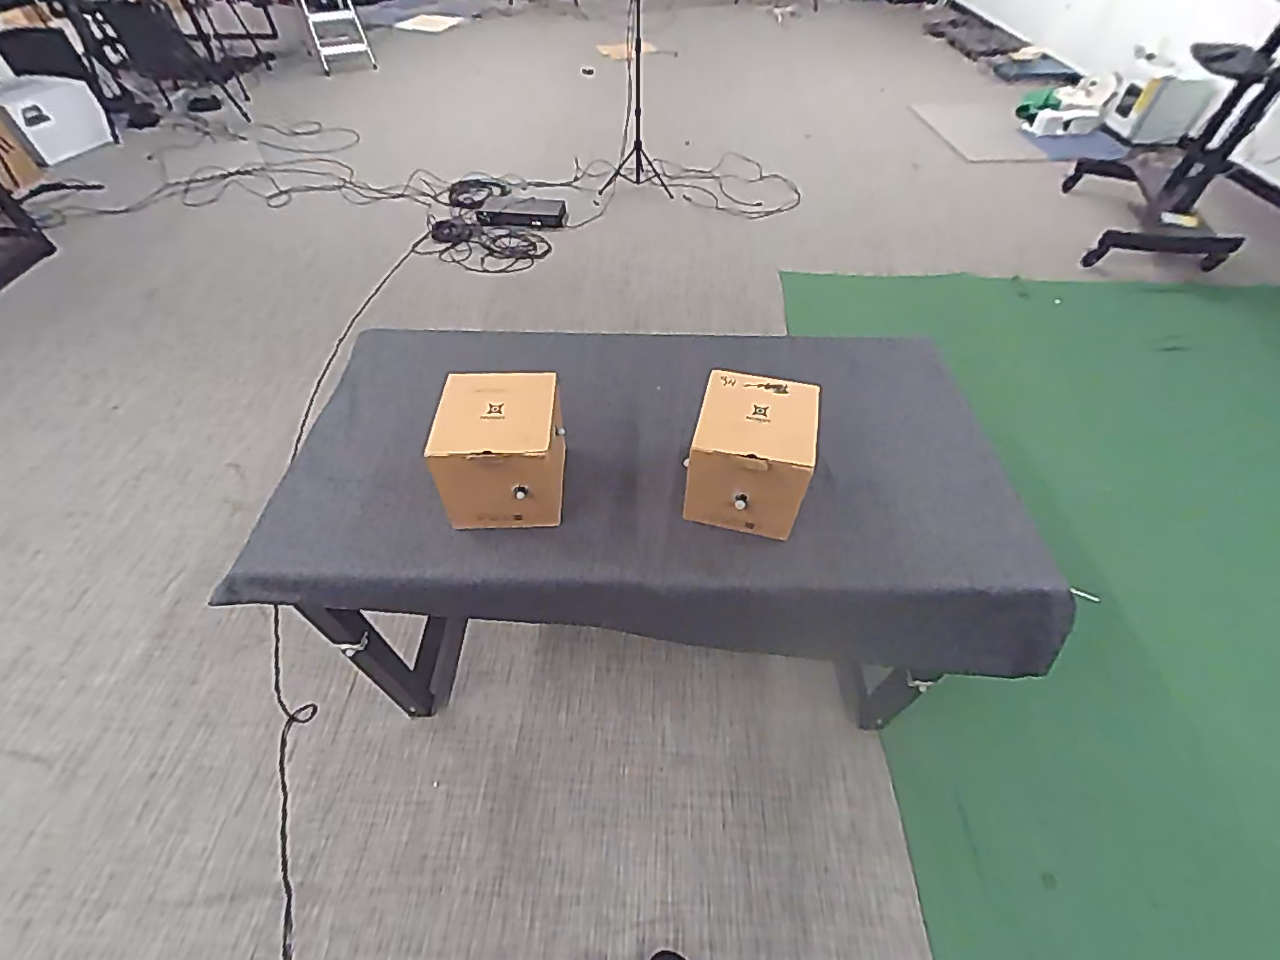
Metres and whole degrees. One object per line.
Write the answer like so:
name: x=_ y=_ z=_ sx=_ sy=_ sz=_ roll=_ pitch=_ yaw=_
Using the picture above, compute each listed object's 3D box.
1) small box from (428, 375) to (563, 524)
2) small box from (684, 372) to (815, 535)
small box: x=-0.210 y=-0.043 z=0.840 sx=0.168 sy=0.176 sz=0.179 roll=-1 pitch=47 yaw=-4
small box: x=0.165 y=-0.038 z=0.840 sx=0.168 sy=0.176 sz=0.179 roll=11 pitch=51 yaw=9
